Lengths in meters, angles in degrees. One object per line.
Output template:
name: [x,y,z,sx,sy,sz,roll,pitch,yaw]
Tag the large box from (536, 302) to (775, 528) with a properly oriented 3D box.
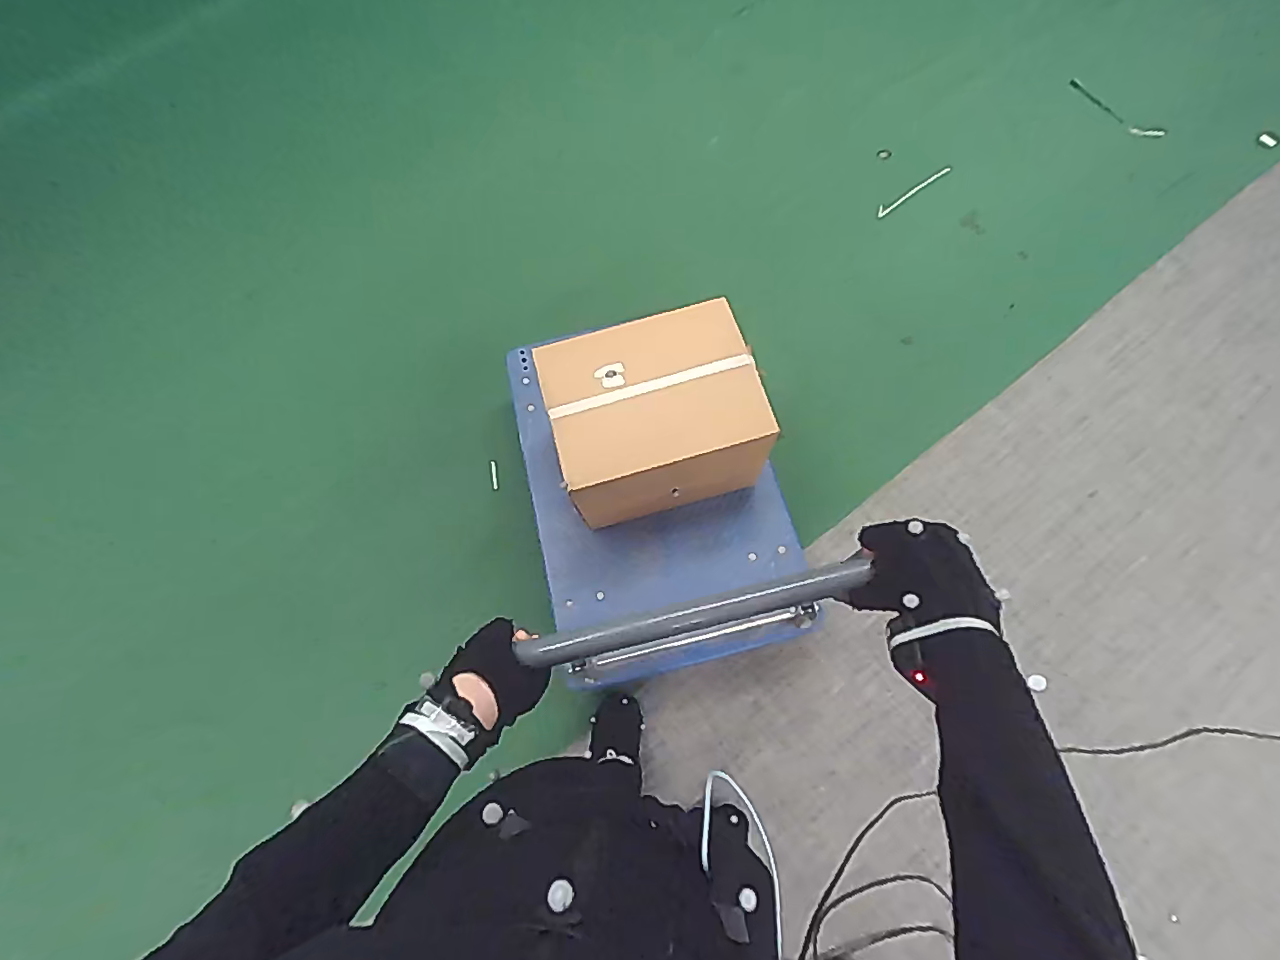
large box: [0.032,-0.123,1.186,0.408,0.320,0.320,-17,71,-2]
